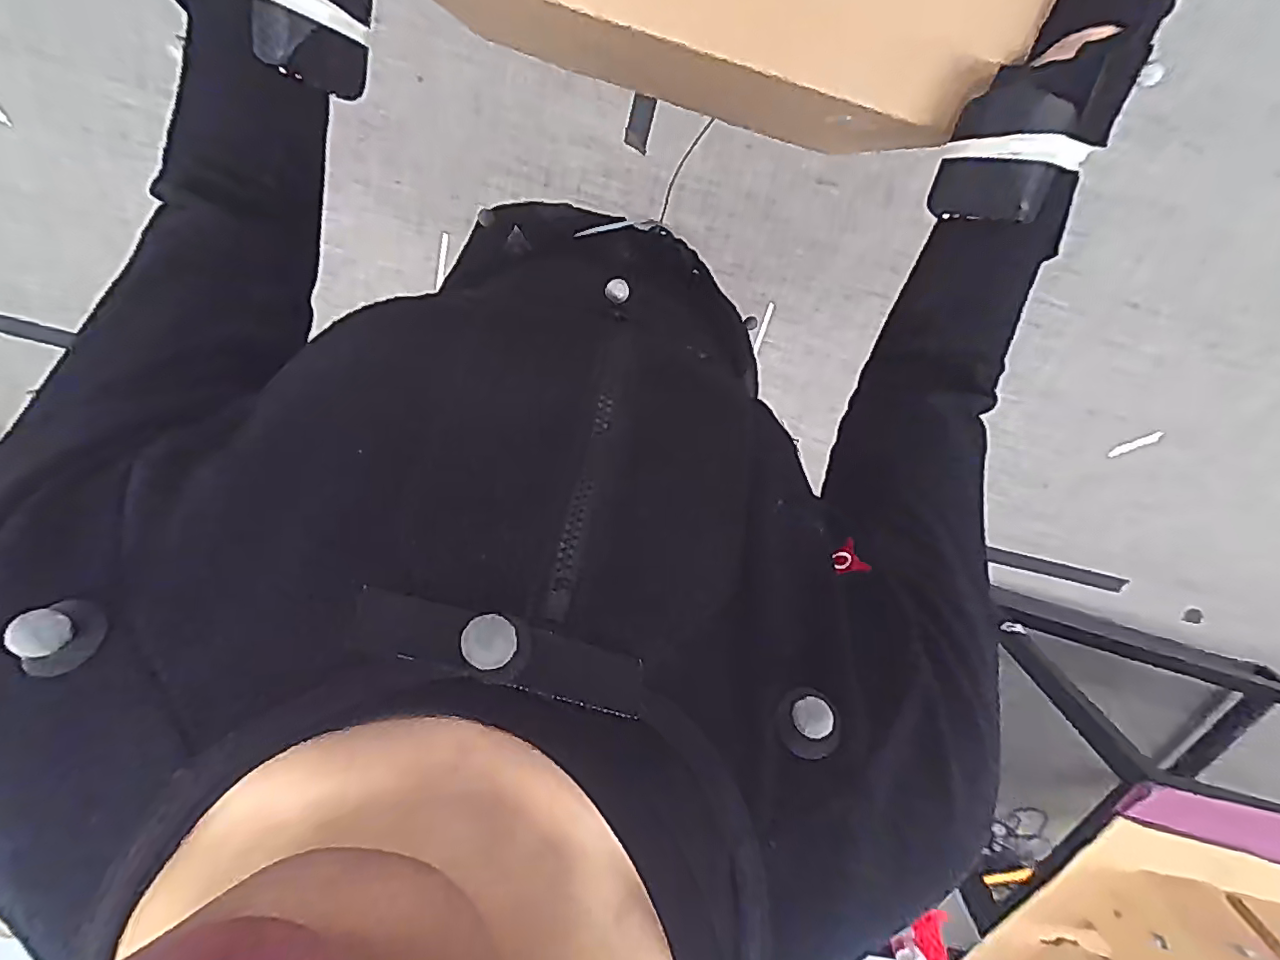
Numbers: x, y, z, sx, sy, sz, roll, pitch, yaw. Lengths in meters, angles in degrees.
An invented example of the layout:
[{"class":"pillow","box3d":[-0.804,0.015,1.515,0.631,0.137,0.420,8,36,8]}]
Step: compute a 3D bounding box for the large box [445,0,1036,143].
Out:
[{"class":"large box","box3d":[0.064,-0.473,0.385,0.408,0.320,0.320,13,120,-8]}]
